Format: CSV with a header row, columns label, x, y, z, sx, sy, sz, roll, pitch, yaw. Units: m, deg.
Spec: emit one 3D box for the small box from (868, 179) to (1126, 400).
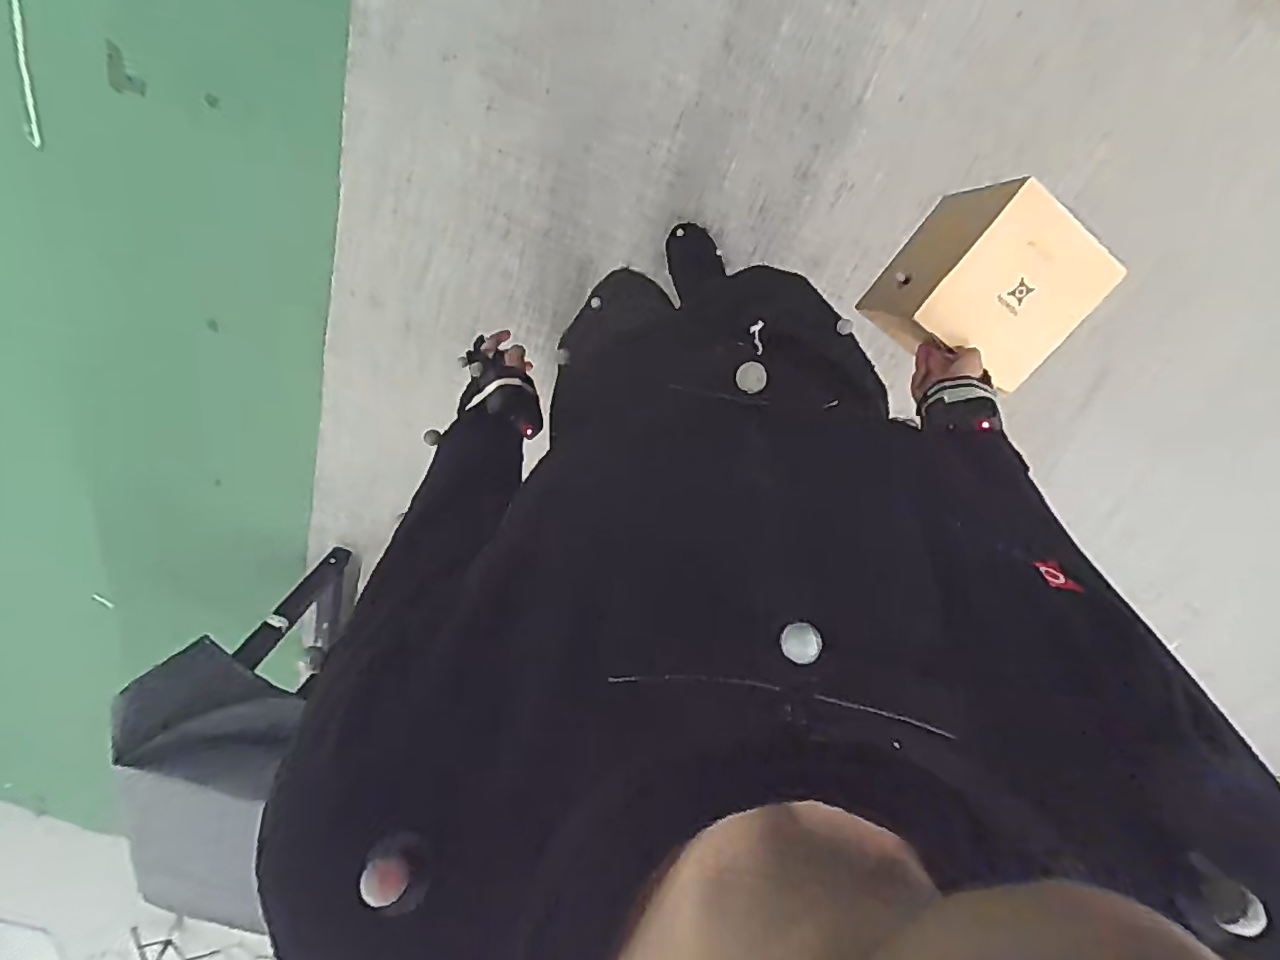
label,x,y,z,sx,sy,sz,roll,pitch,yaw
small box,0.414,-0.229,0.669,0.168,0.176,0.179,33,106,-13
